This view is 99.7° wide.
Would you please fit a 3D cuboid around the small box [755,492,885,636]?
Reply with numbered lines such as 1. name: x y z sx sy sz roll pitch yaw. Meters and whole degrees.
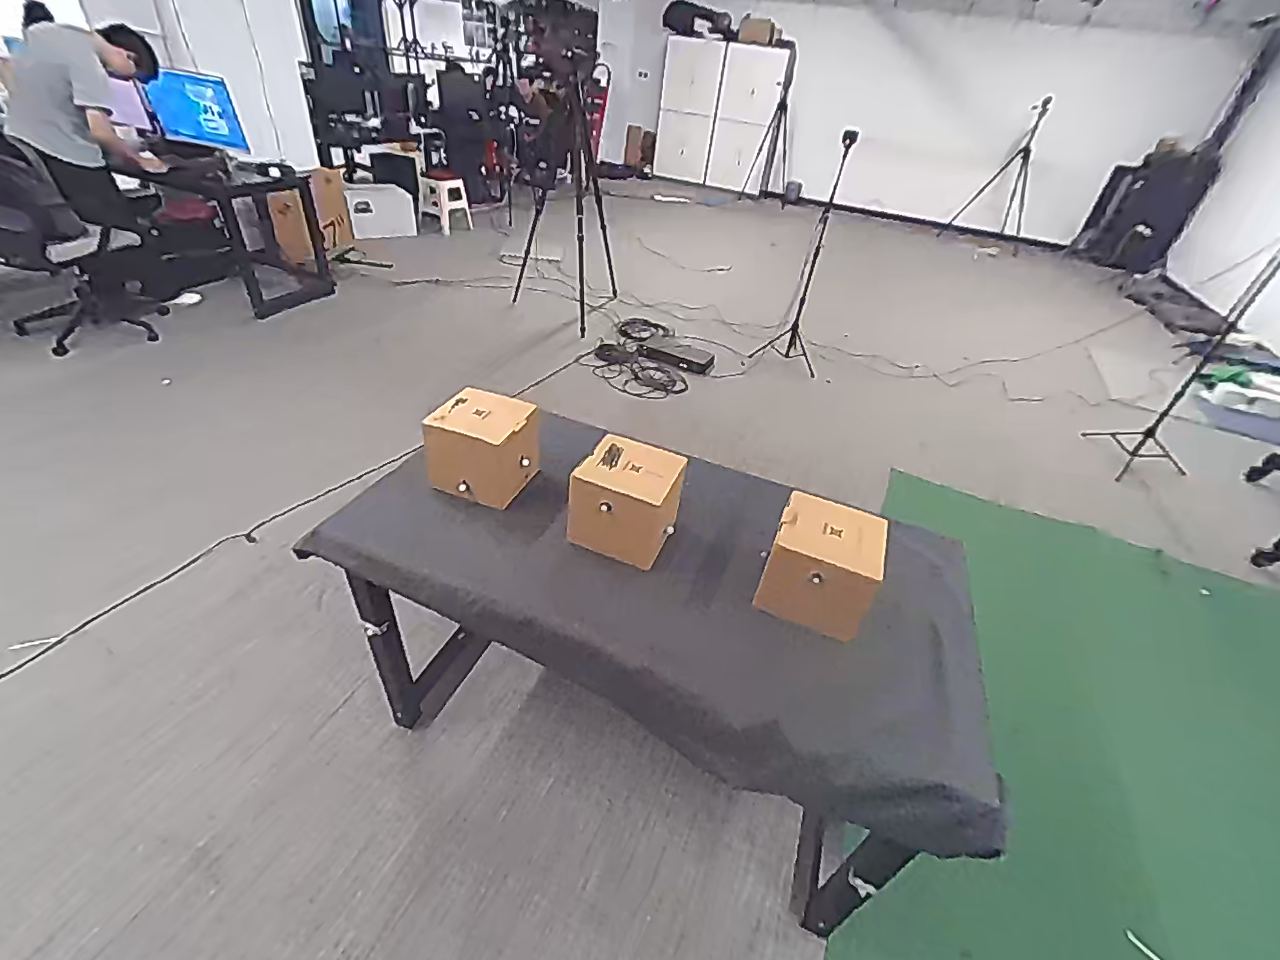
1. small box: 0.324 0.154 0.986 0.179 0.176 0.168 20 40 14

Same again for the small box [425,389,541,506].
1. small box: -0.327 -0.067 1.157 0.179 0.176 0.168 17 38 11

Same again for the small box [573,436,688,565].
1. small box: -0.023 0.041 1.070 0.179 0.176 0.168 19 39 13
